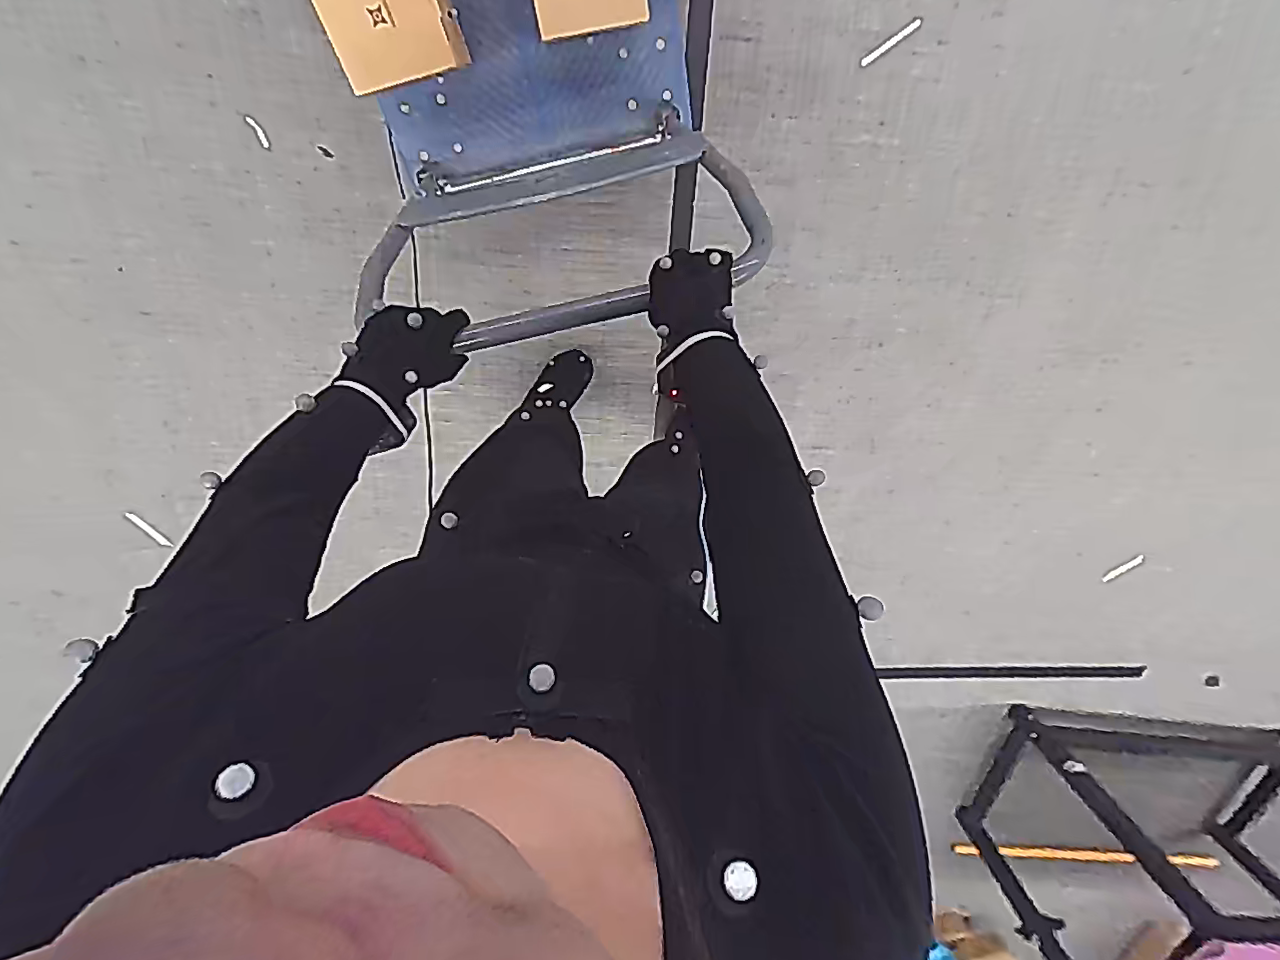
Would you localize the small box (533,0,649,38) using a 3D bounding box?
[{"bbox_3d":[-0.089,-0.819,0.856,0.179,0.176,0.168,-10,129,1],"label":"small box"}]

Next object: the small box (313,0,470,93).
[{"bbox_3d":[-0.396,-0.747,0.872,0.179,0.176,0.168,-16,128,3],"label":"small box"}]
